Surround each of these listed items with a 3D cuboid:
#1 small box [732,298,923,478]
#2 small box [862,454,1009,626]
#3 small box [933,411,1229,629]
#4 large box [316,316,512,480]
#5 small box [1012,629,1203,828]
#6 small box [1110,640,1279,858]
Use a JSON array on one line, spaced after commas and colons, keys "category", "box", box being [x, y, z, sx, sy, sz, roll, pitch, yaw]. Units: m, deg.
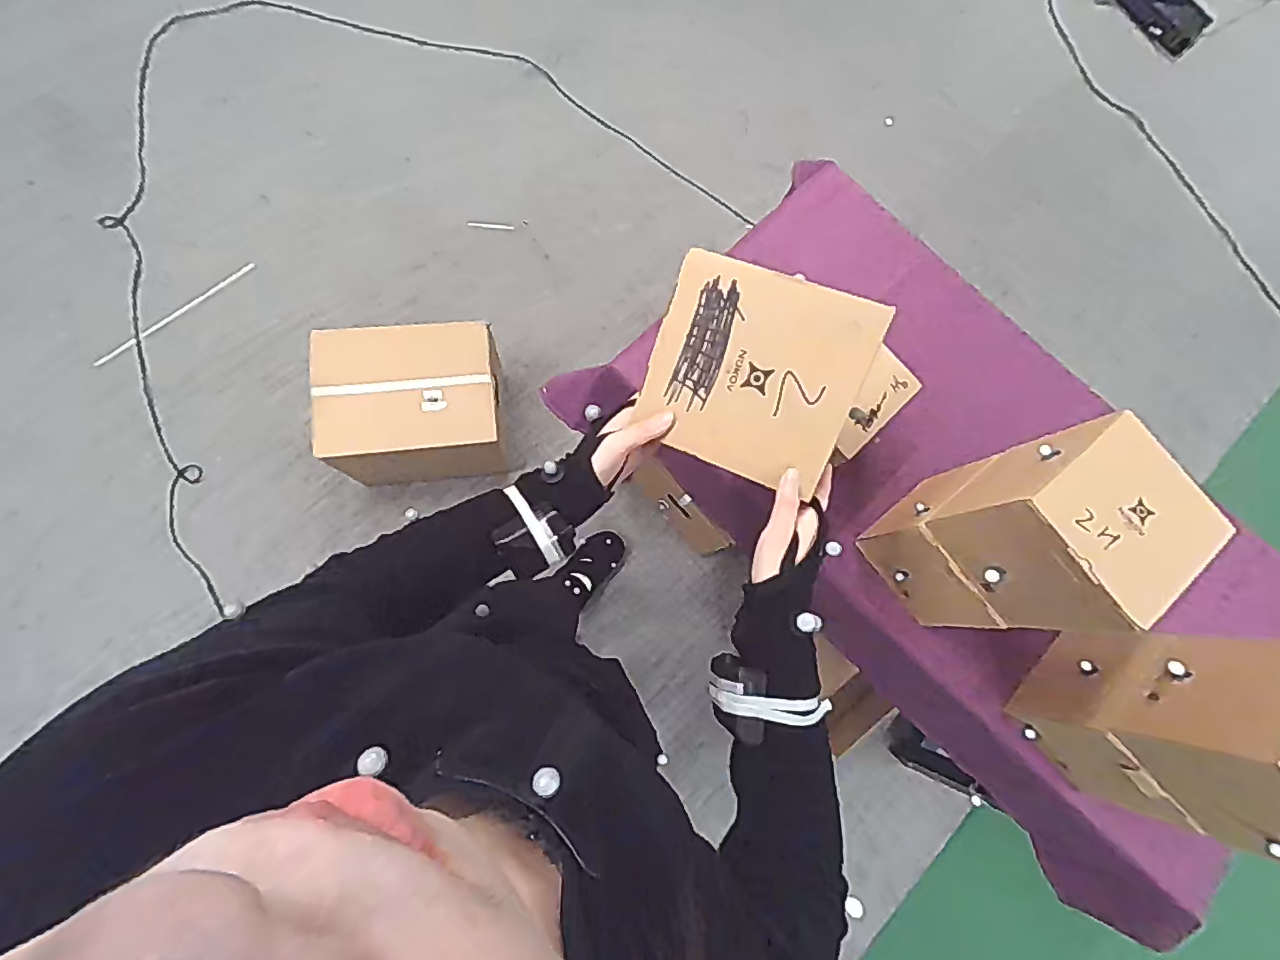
[{"category": "small box", "box": [0.265, -0.127, 0.811, 0.168, 0.176, 0.179, -41, 85, -13]}, {"category": "small box", "box": [0.469, 0.090, 0.792, 0.179, 0.176, 0.168, -36, 84, -12]}, {"category": "small box", "box": [0.495, 0.052, 0.634, 0.179, 0.176, 0.168, -35, 84, -13]}, {"category": "large box", "box": [-0.560, -0.199, 1.402, 0.408, 0.320, 0.320, -6, 79, -9]}, {"category": "small box", "box": [0.677, 0.332, 0.763, 0.179, 0.176, 0.168, -41, 85, -14]}, {"category": "small box", "box": [0.702, 0.299, 0.606, 0.168, 0.176, 0.179, -40, 85, -14]}]
